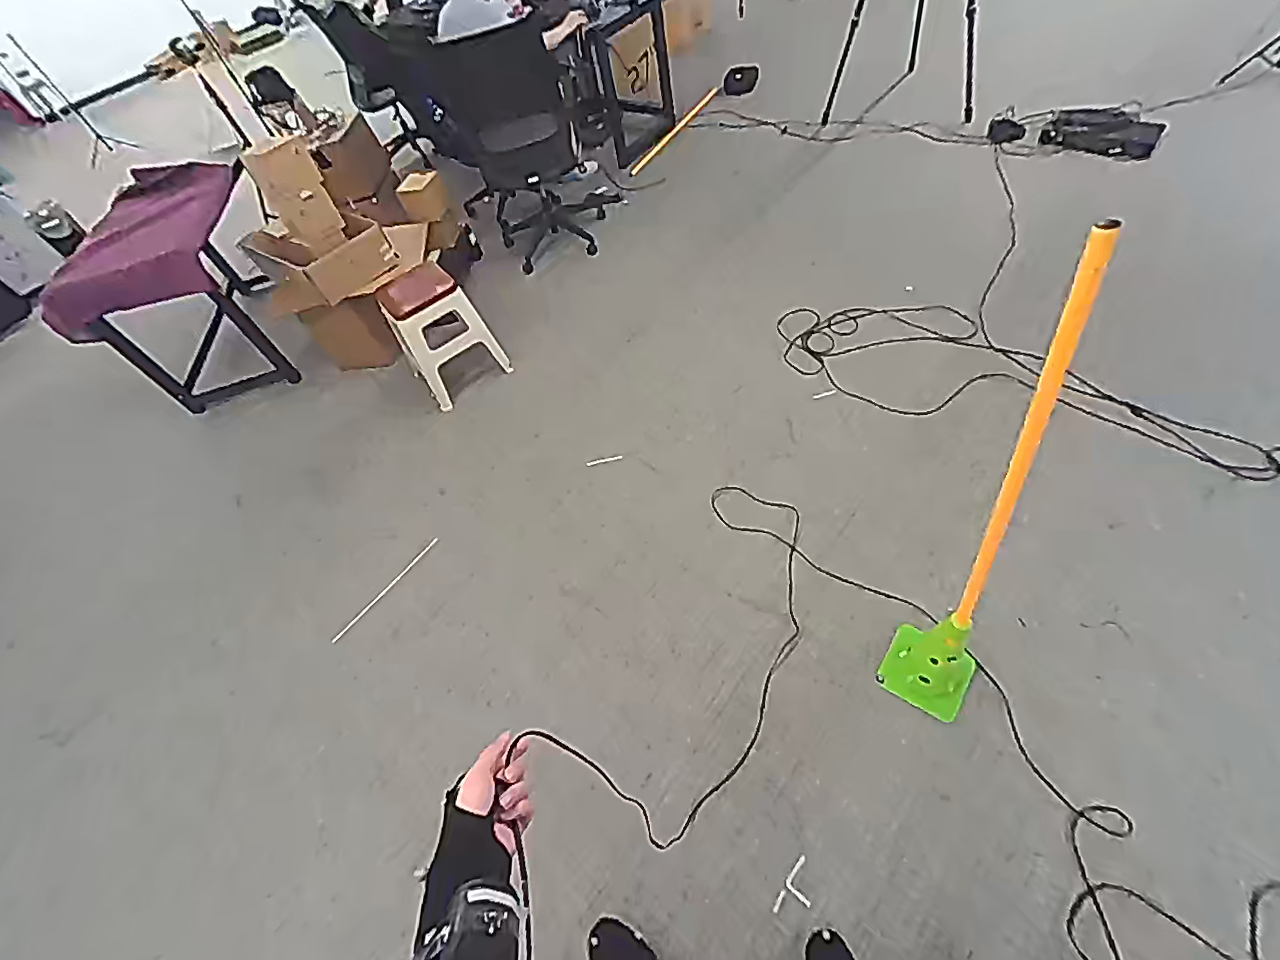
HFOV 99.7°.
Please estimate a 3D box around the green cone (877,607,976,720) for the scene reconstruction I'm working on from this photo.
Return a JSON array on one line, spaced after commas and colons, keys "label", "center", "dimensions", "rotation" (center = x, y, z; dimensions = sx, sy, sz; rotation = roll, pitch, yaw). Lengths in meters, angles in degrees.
[{"label": "green cone", "center": [0.731, 0.401, 1.300], "dimensions": [0.200, 0.368, 0.202], "rotation": [26, 62, 27]}]
